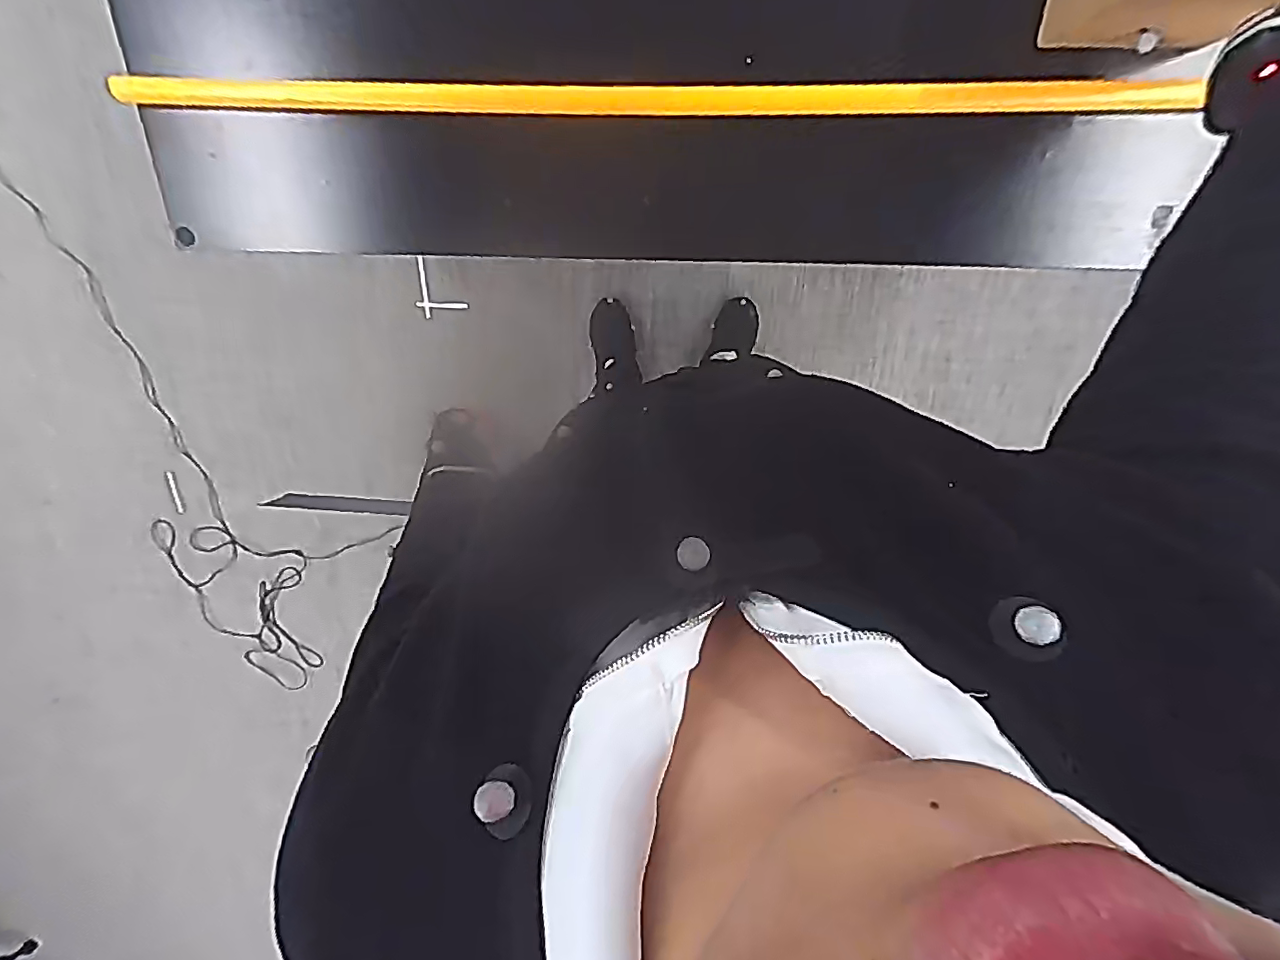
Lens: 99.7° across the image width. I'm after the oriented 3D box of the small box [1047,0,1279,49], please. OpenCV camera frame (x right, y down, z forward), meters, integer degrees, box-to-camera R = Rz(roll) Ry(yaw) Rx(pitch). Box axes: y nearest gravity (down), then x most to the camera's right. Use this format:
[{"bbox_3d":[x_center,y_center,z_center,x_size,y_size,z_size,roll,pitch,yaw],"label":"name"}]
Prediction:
[{"bbox_3d":[0.484,-0.492,0.442,0.168,0.176,0.179,4,113,4],"label":"small box"}]
